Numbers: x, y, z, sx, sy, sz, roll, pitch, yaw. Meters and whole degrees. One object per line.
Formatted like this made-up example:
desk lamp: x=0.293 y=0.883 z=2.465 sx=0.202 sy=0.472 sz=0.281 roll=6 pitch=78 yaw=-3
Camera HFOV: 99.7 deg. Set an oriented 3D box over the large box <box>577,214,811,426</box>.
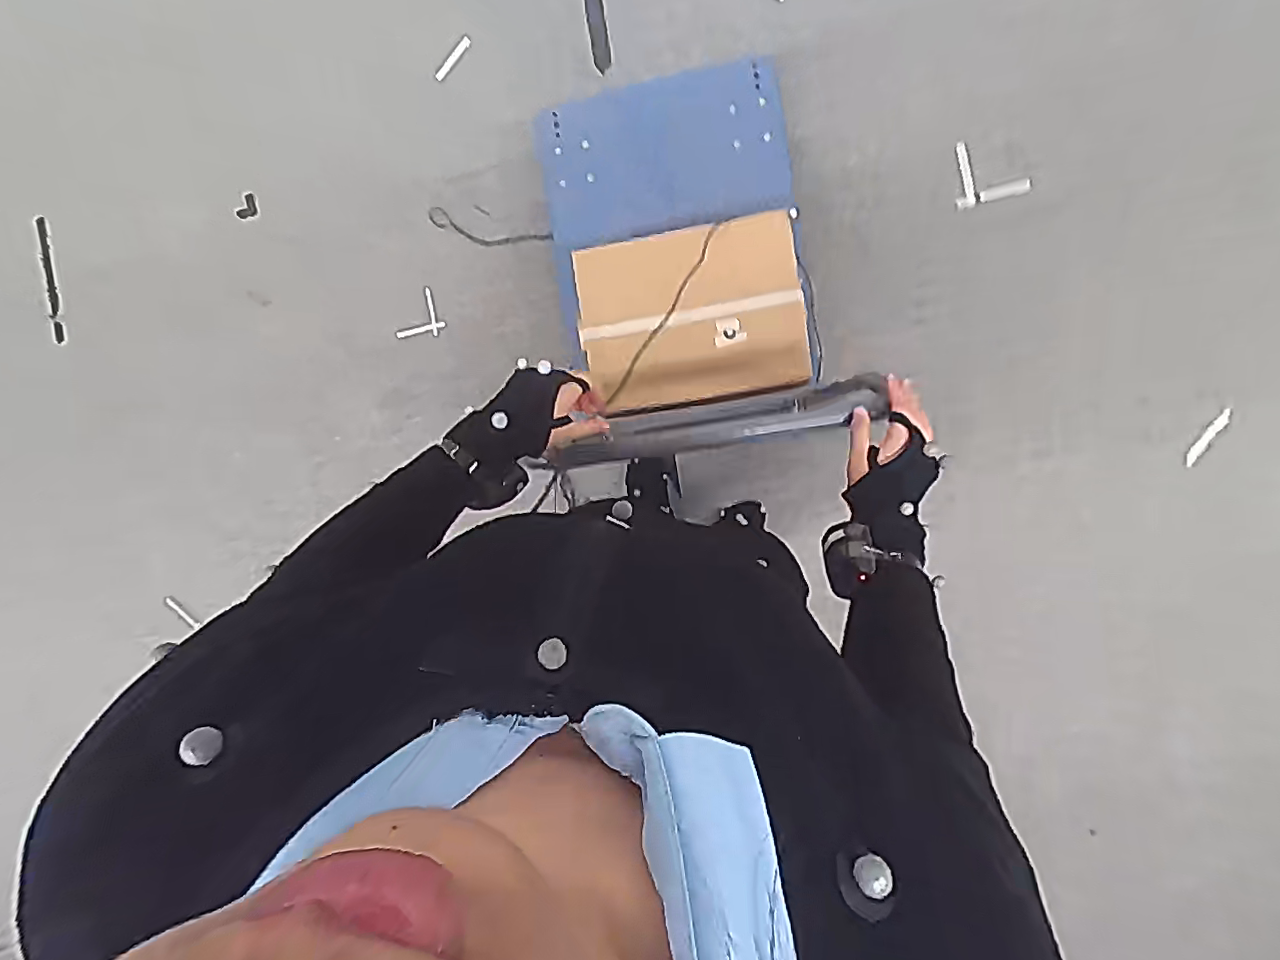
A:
large box: x=0.112 y=-0.307 z=1.153 sx=0.408 sy=0.320 sz=0.320 roll=-9 pitch=92 yaw=7
